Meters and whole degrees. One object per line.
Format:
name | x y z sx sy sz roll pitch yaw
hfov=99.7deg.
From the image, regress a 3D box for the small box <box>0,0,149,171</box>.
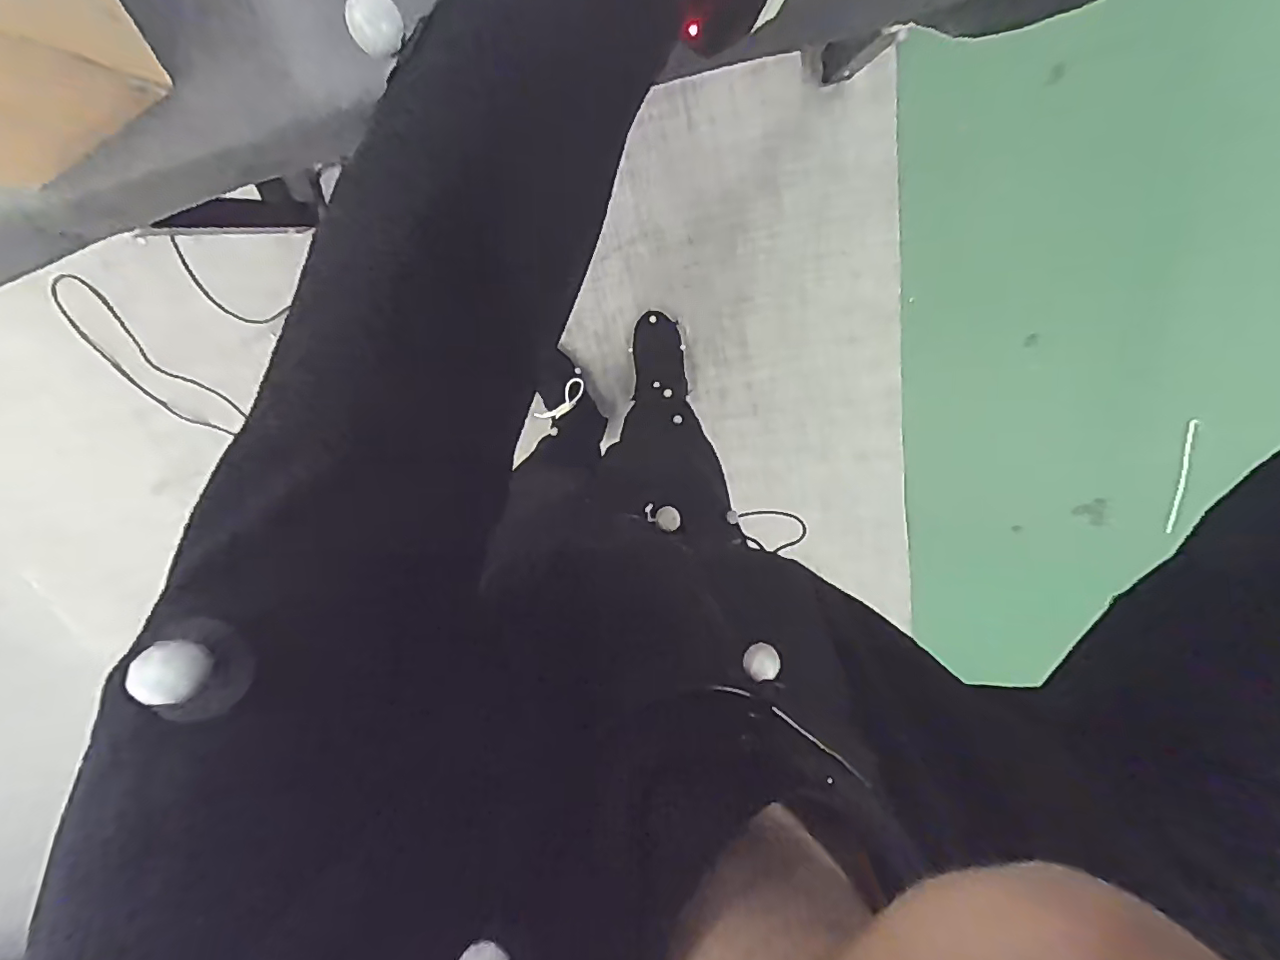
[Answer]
small box | -0.497 -0.335 0.362 0.179 0.176 0.168 -22 111 12
